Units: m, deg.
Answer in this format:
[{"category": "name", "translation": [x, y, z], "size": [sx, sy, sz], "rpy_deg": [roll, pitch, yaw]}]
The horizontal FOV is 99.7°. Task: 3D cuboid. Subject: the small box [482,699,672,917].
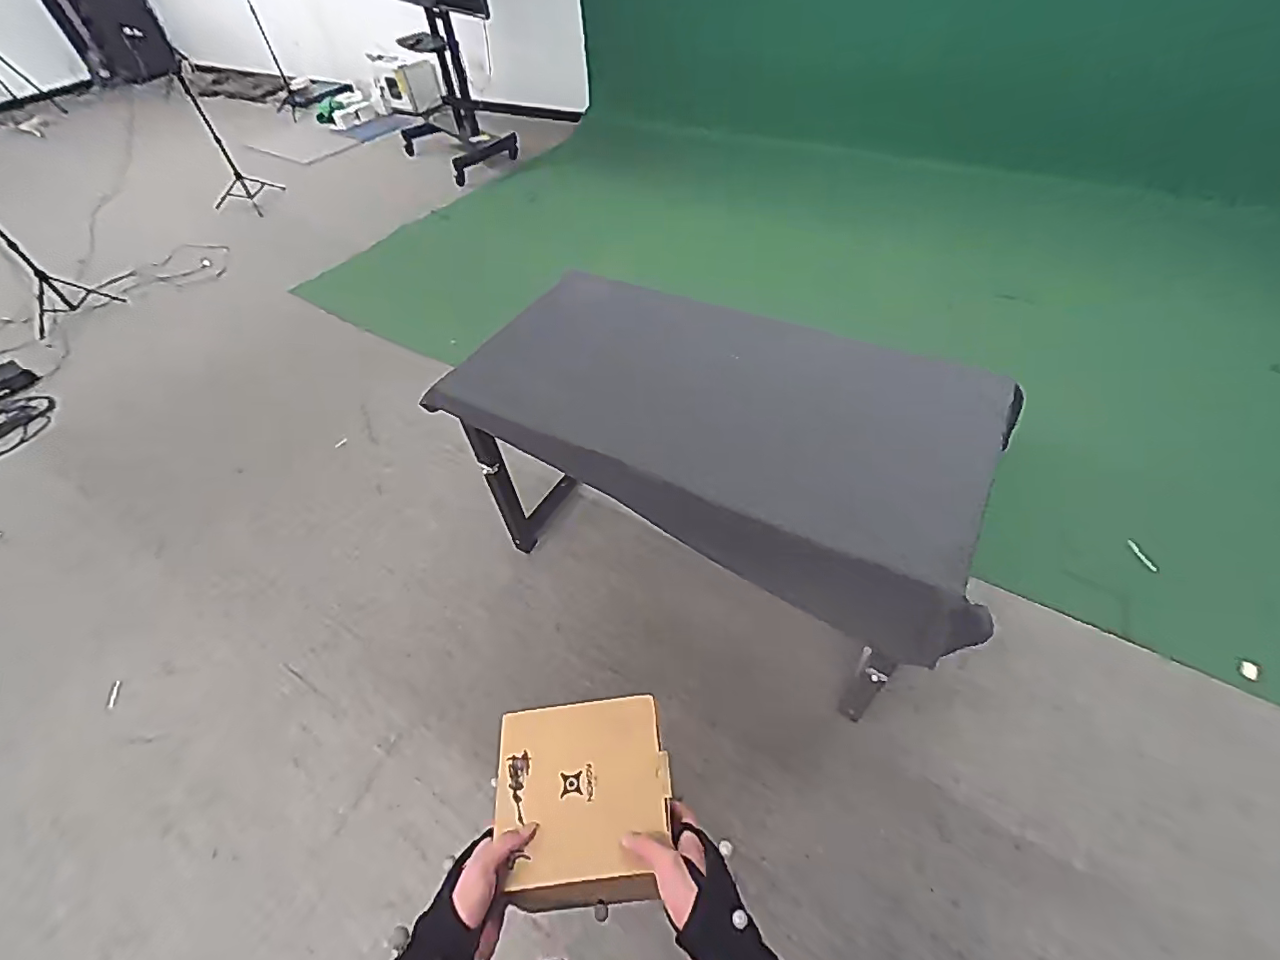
[{"category": "small box", "translation": [-0.059, 0.366, 0.603], "size": [0.179, 0.176, 0.168], "rpy_deg": [-7, 44, 0]}]
